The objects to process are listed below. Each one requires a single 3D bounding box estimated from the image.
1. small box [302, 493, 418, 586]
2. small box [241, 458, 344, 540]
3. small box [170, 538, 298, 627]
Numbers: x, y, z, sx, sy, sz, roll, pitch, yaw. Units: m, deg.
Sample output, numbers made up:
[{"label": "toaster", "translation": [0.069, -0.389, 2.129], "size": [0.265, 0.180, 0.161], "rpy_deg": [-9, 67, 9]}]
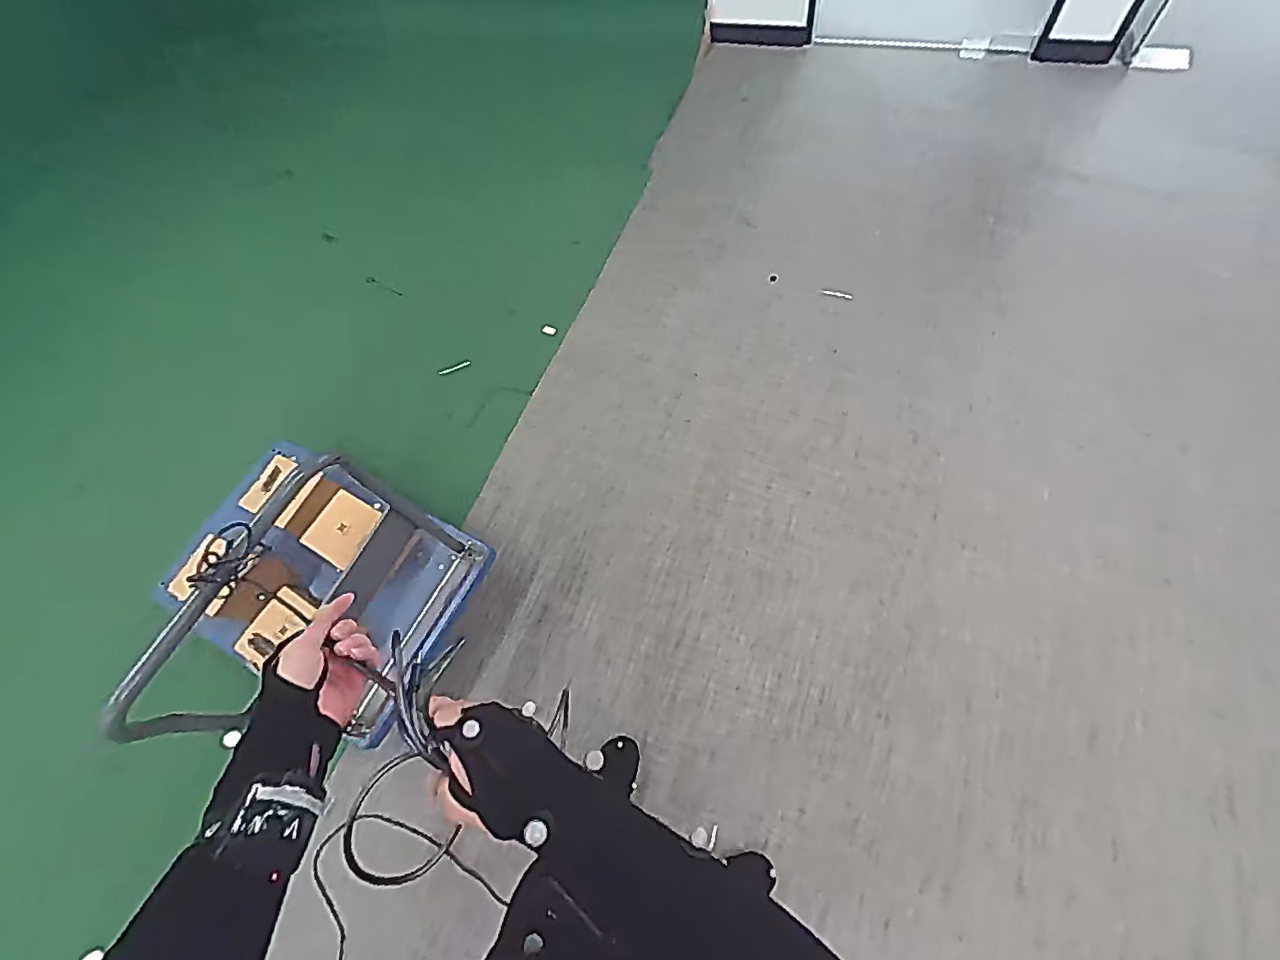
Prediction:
[{"label": "small box", "translation": [-0.743, 0.166, 1.450], "size": [0.179, 0.176, 0.168], "rpy_deg": [25, 72, 18]}, {"label": "small box", "translation": [-0.952, 0.070, 1.525], "size": [0.179, 0.176, 0.168], "rpy_deg": [23, 71, 16]}, {"label": "small box", "translation": [-1.073, 0.281, 1.446], "size": [0.179, 0.176, 0.168], "rpy_deg": [20, 69, 17]}]
